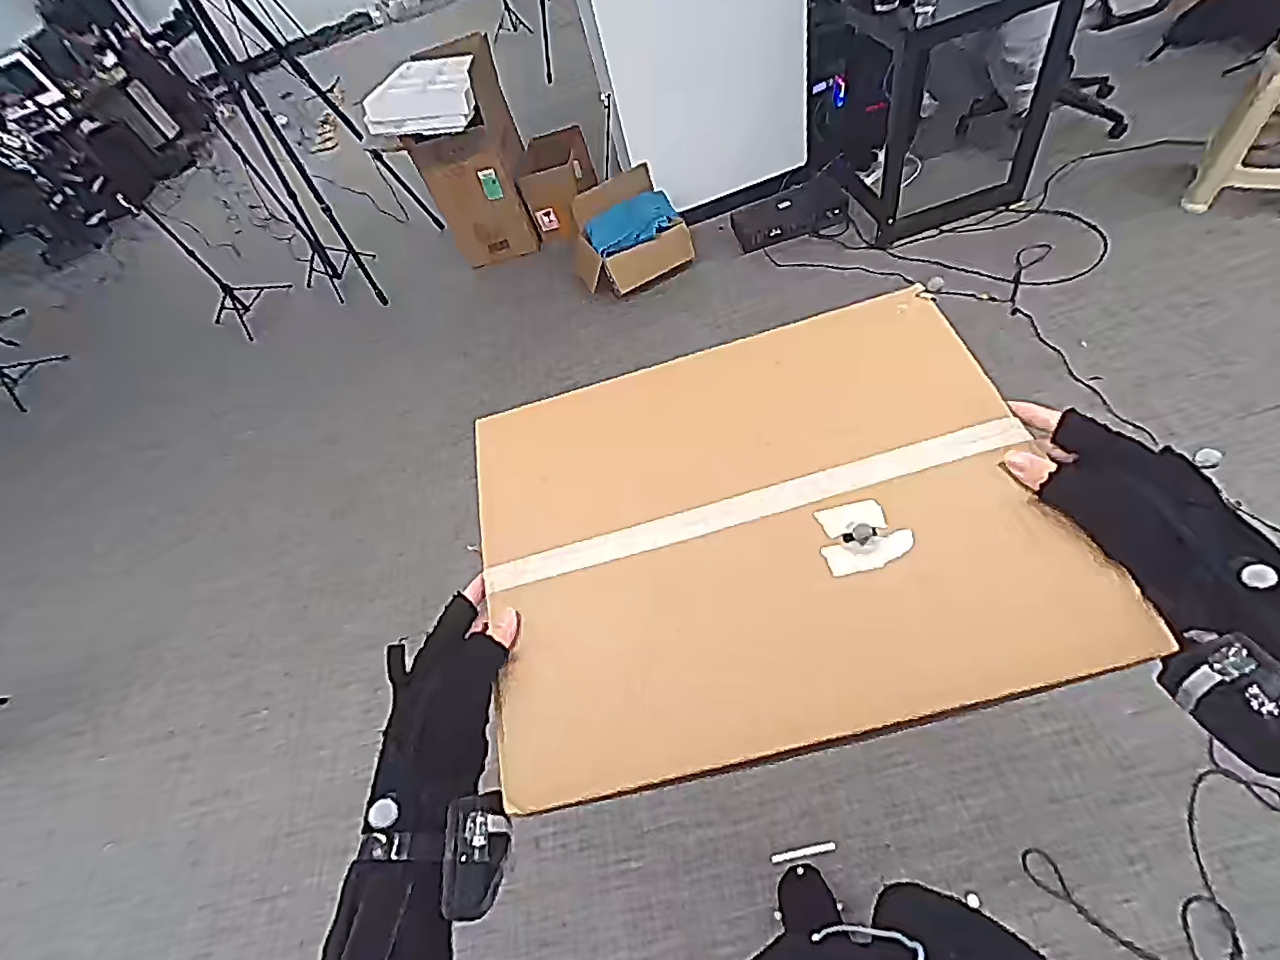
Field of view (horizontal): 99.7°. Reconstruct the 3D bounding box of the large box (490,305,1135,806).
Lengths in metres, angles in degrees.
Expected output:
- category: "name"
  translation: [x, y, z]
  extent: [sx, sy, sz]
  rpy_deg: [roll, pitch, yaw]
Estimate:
- category: "large box"
  translation: [0.109, 0.097, 0.541]
  extent: [0.408, 0.320, 0.320]
  rpy_deg: [-16, 60, 3]
